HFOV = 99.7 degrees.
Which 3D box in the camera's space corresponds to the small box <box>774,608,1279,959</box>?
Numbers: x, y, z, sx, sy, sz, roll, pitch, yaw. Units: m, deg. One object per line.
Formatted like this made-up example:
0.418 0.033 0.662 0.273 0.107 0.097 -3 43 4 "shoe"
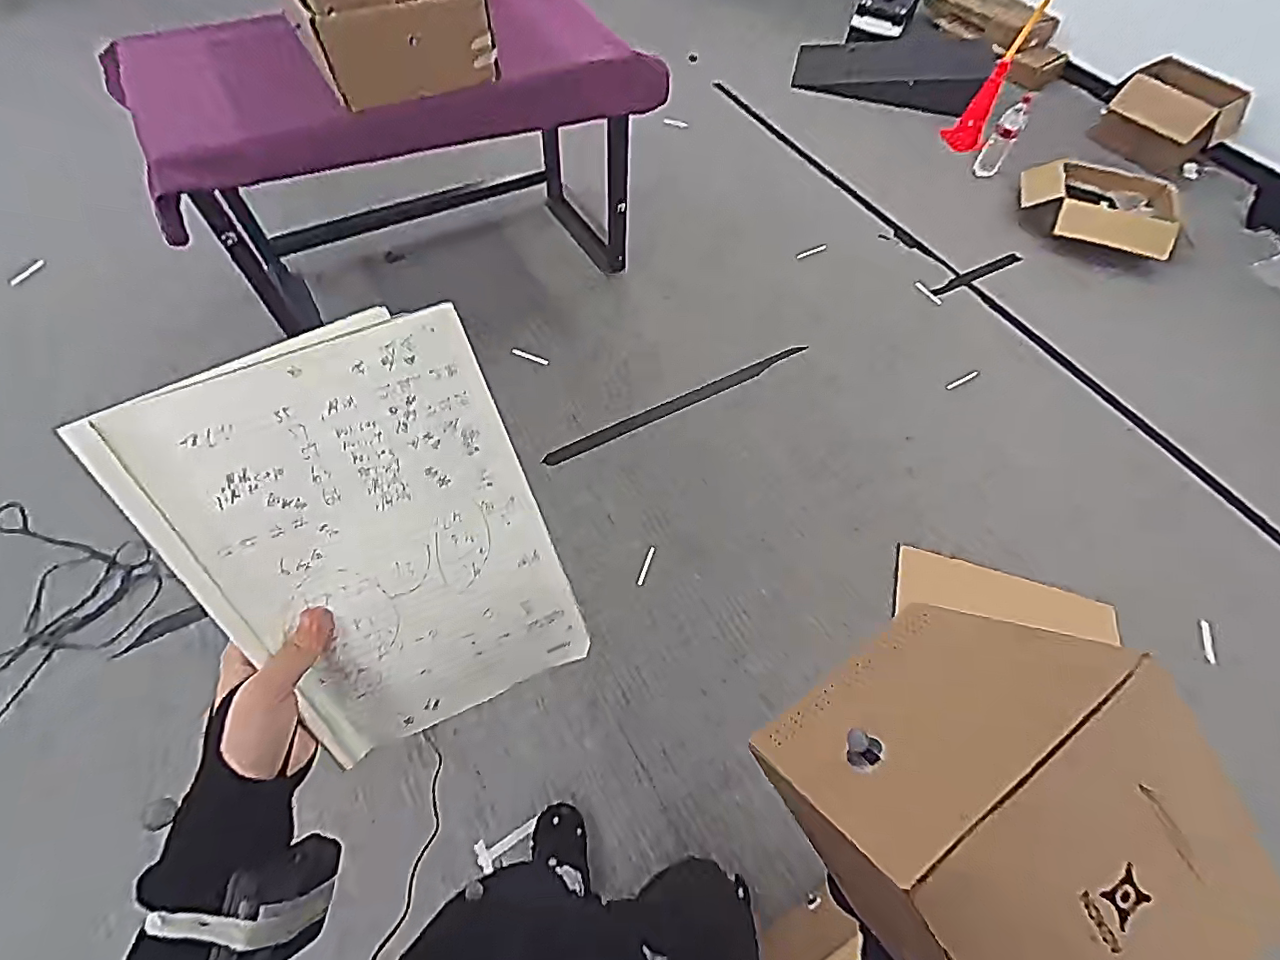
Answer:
0.207 0.203 0.332 0.179 0.176 0.168 -34 95 -13 "small box"
